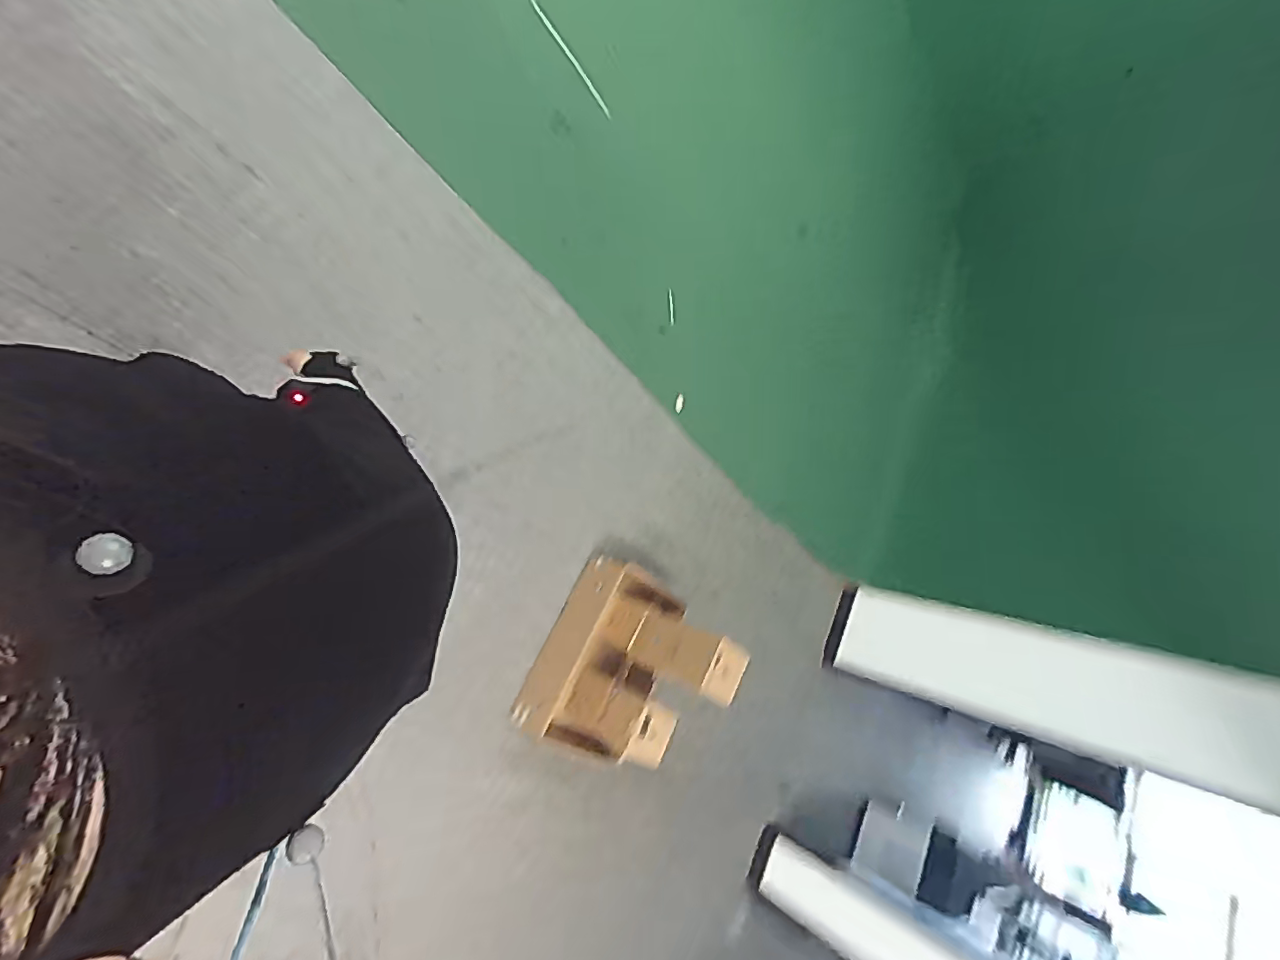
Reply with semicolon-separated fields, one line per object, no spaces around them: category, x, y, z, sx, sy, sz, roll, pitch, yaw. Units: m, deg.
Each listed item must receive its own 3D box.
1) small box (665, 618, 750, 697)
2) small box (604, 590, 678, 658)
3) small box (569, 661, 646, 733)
small box;0.214;0.559;1.722;0.179;0.176;0.168;42;67;-37
small box;-0.001;0.518;1.968;0.179;0.176;0.168;44;67;-36
small box;-0.118;0.752;1.888;0.179;0.176;0.168;39;69;-37
